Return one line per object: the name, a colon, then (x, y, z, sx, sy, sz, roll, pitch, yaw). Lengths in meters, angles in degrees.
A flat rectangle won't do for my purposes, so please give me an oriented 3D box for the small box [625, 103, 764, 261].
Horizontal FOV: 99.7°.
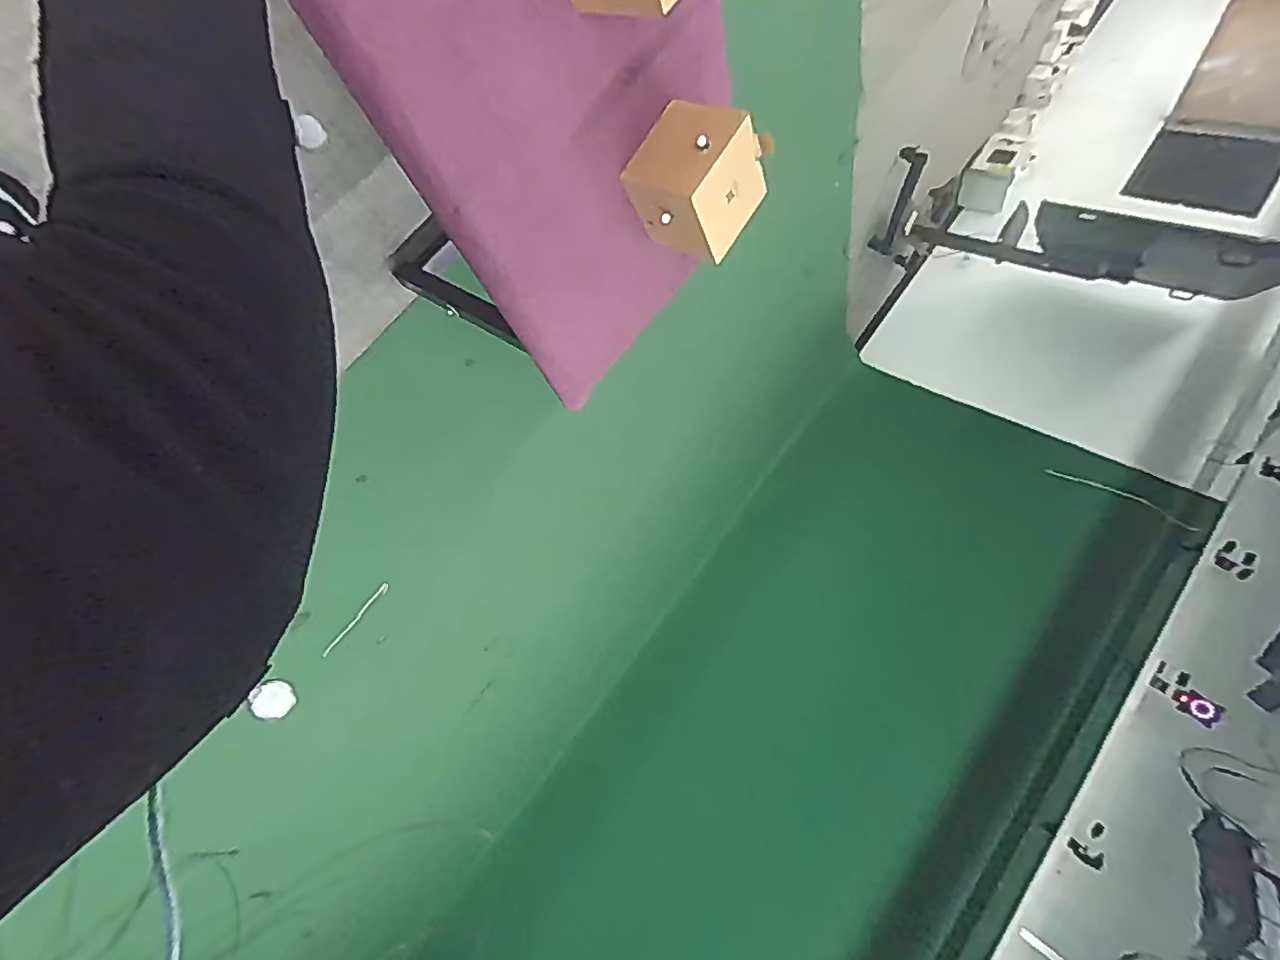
small box: (0.093, -0.537, 0.975, 0.179, 0.176, 0.168, -56, 151, -3)
